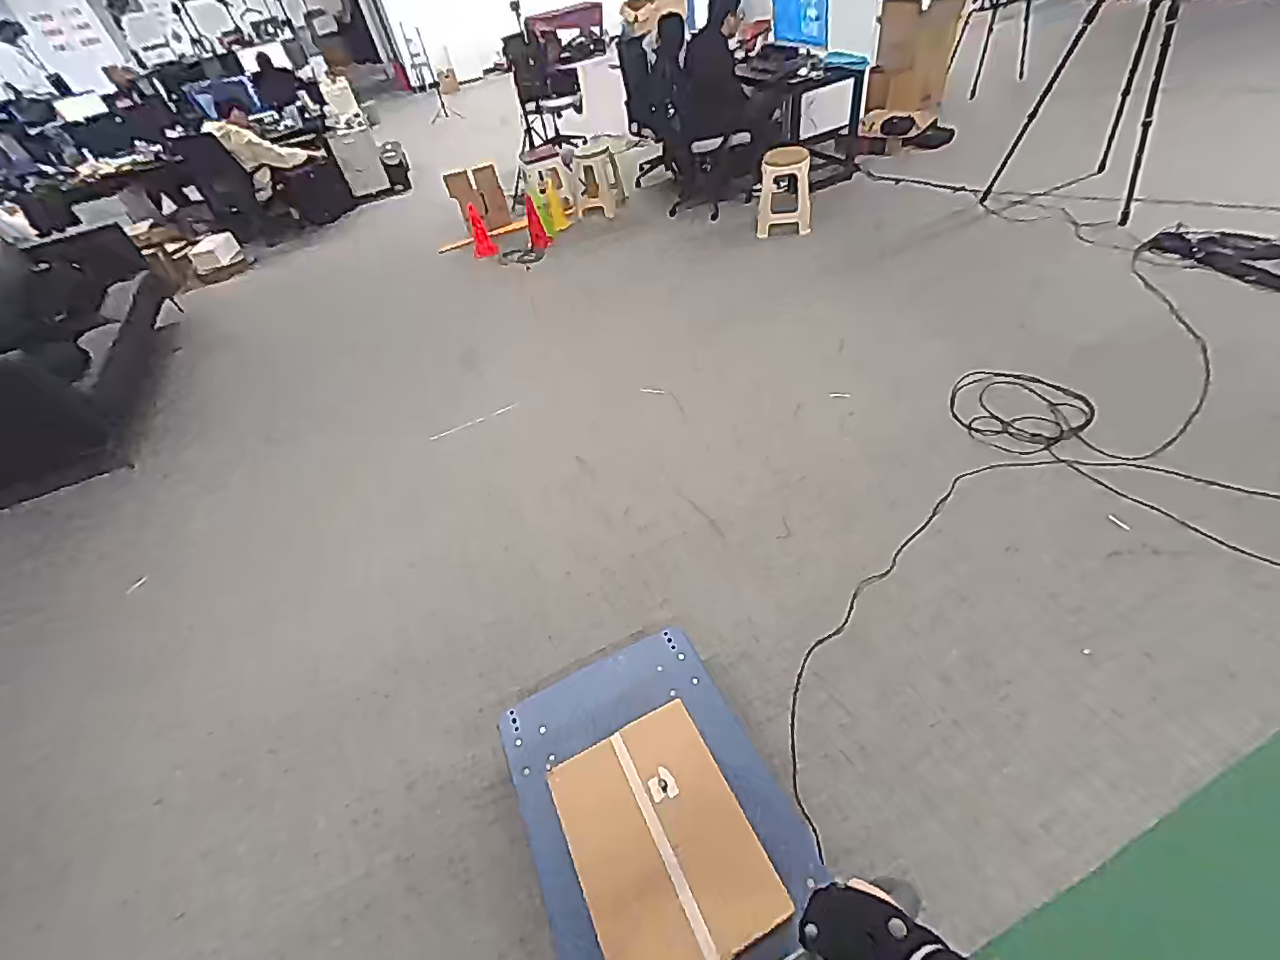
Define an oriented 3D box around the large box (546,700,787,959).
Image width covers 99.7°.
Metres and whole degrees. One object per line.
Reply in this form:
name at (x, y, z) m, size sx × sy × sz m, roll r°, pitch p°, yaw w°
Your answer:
large box at (0.053, 0.753, 1.105) m, size 0.320 × 0.320 × 0.408 m, roll -24°, pitch 46°, yaw -12°
